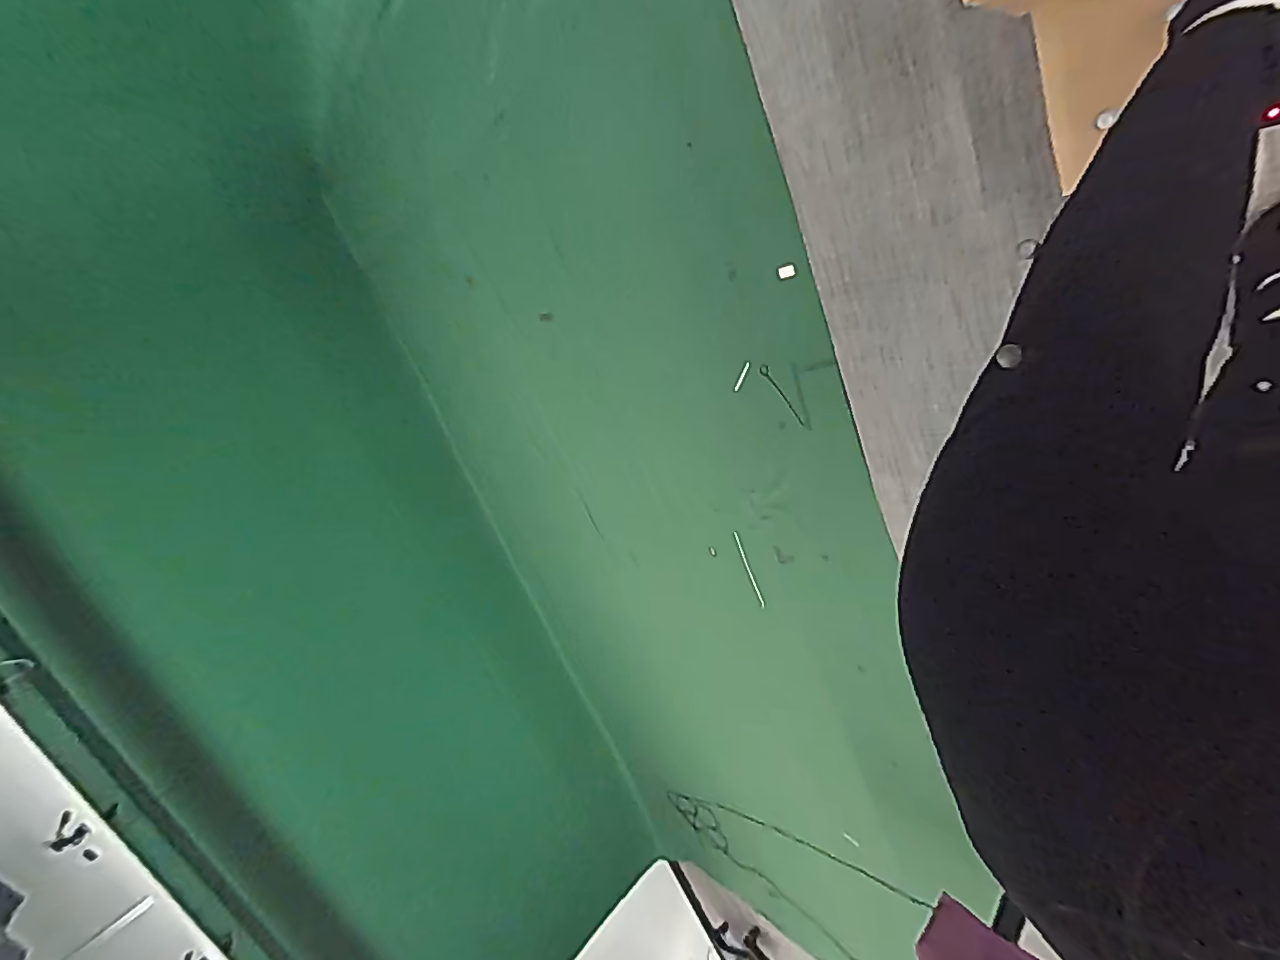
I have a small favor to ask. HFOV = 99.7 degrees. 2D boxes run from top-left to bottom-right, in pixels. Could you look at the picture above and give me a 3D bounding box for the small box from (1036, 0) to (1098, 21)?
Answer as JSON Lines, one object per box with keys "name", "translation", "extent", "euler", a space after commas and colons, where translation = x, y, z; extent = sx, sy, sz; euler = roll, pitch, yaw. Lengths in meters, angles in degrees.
{"name": "small box", "translation": [0.511, -0.654, 0.594], "extent": [0.168, 0.176, 0.179], "euler": [-2, 112, 53]}
